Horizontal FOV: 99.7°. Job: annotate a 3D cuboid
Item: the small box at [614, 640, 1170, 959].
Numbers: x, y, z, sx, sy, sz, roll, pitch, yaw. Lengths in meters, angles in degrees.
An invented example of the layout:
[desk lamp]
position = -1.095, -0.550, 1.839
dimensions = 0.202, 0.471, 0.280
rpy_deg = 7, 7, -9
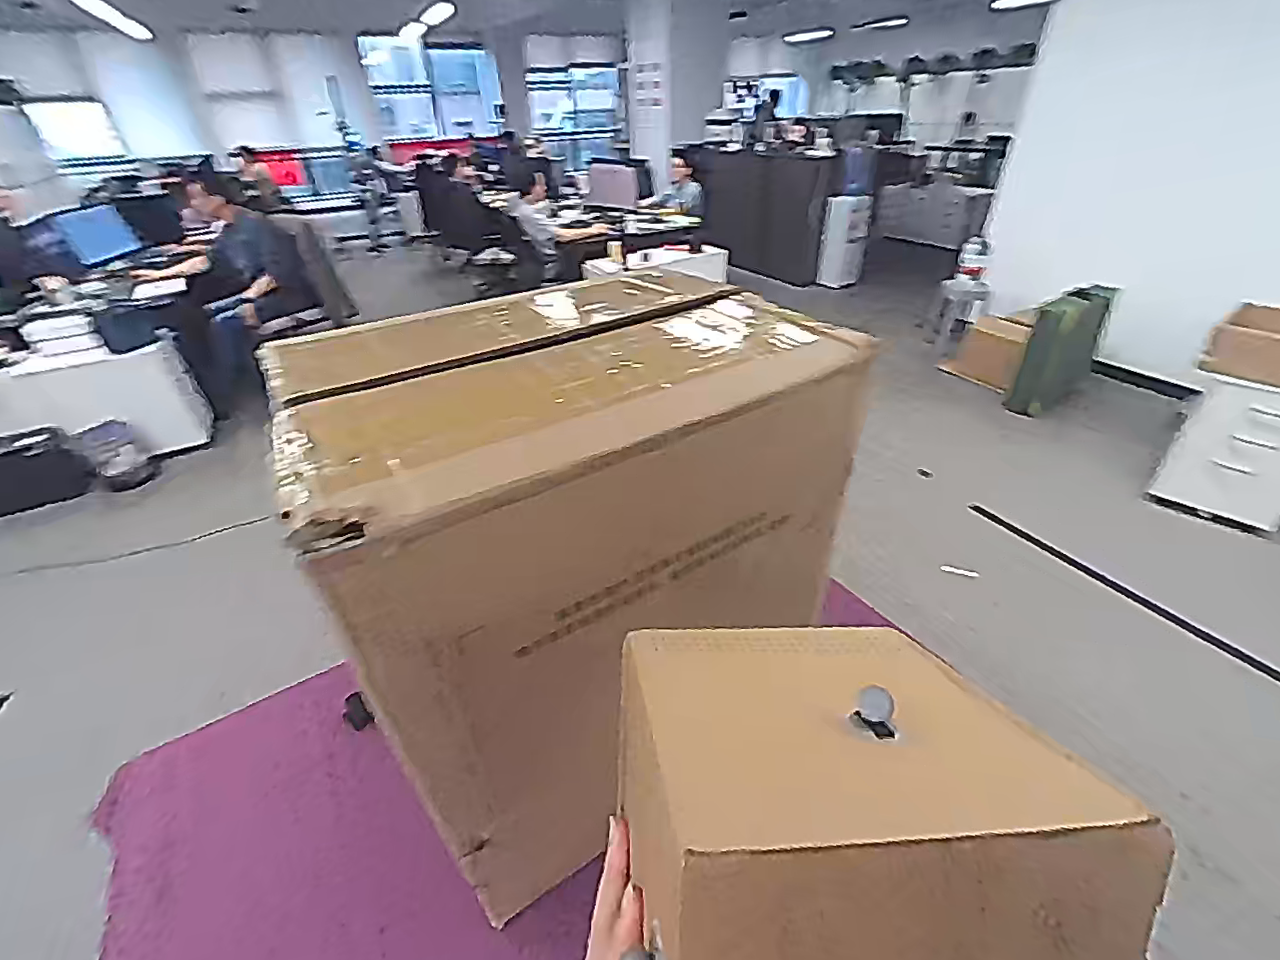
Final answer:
[small box]
position = 0.085, 0.189, 0.266
dimensions = 0.179, 0.168, 0.176
rpy_deg = 2, 7, -8
